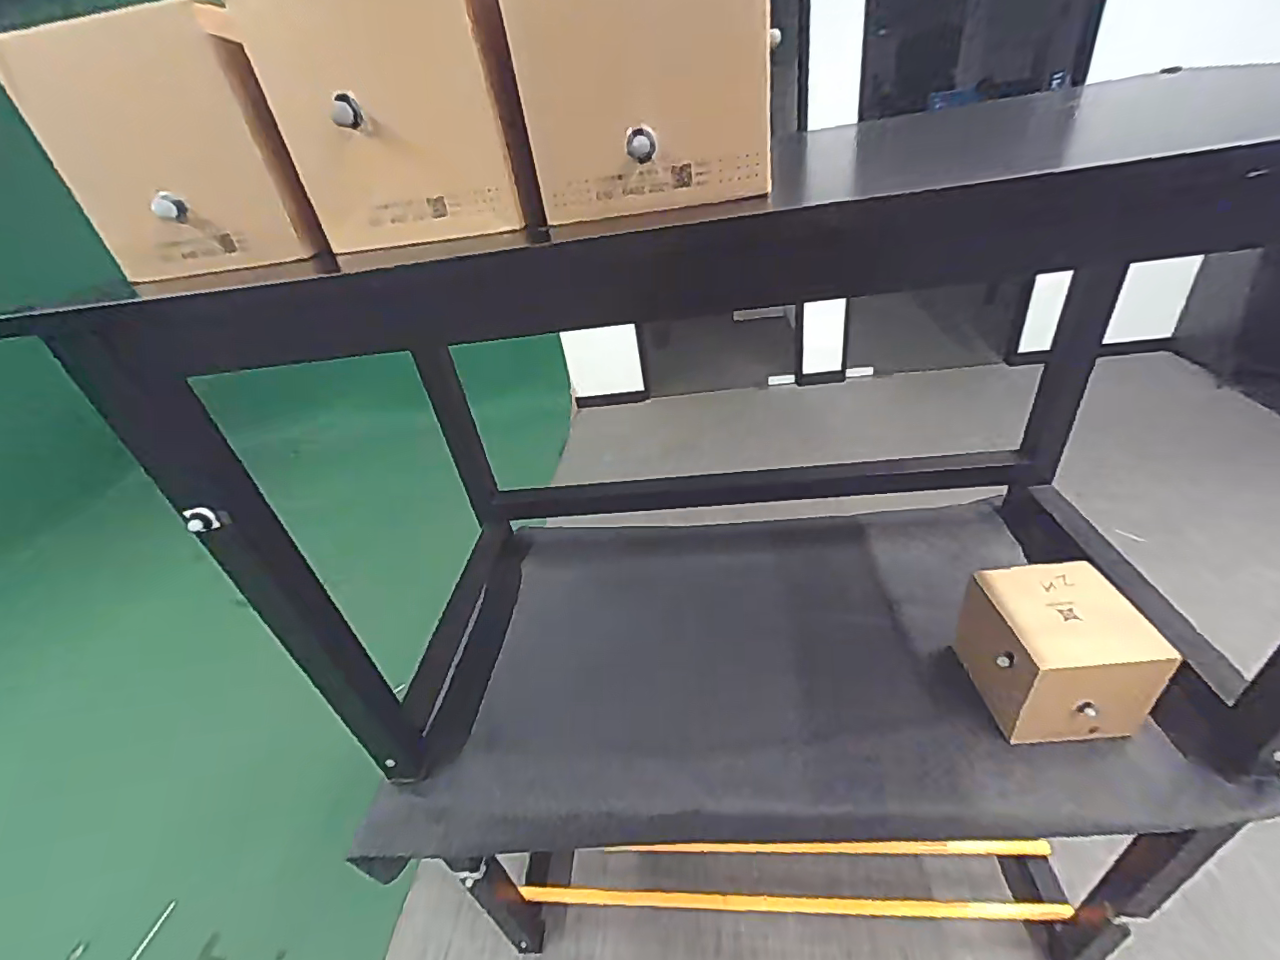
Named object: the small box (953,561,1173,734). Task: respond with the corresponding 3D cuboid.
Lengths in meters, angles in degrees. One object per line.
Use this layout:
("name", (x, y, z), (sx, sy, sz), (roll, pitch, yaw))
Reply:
("small box", (0.582, 0.243, 0.775), (0.168, 0.176, 0.179), (-7, 33, 5))

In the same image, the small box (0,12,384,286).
("small box", (-0.357, -0.283, 0.479), (0.168, 0.176, 0.179), (-5, 35, 6))
